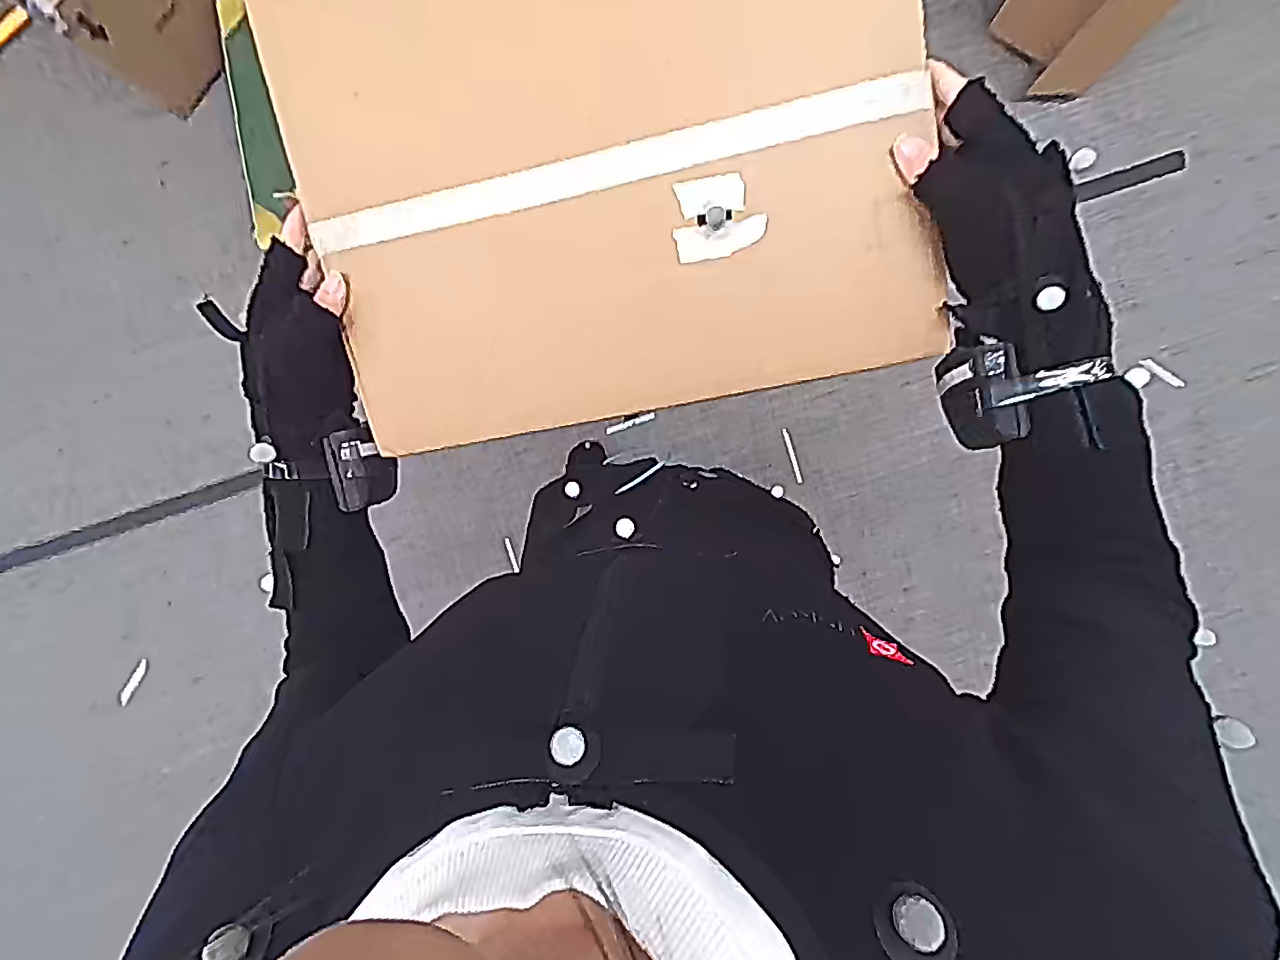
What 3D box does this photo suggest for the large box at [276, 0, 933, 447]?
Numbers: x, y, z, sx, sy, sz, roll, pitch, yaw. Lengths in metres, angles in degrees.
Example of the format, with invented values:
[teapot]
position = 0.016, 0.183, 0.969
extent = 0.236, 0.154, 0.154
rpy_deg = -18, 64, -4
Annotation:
[large box]
position = -0.012, -0.236, 0.509
extent = 0.408, 0.320, 0.320
rpy_deg = -10, 102, 6
